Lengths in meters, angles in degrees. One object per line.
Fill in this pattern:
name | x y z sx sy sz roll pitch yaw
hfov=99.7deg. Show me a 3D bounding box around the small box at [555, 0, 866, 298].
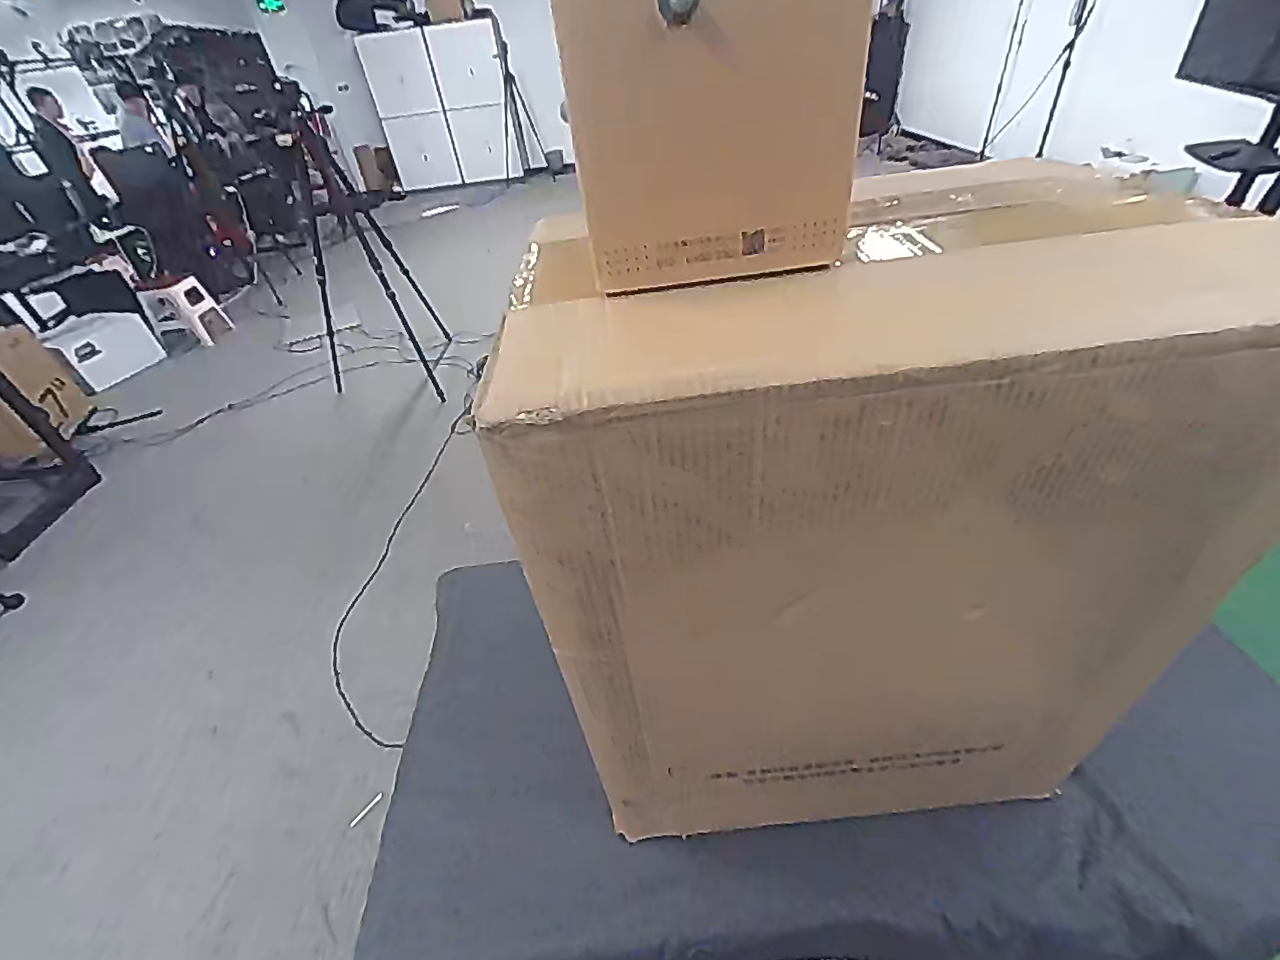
small box | 0.042 -0.245 0.390 0.168 0.176 0.179 -7 37 3
